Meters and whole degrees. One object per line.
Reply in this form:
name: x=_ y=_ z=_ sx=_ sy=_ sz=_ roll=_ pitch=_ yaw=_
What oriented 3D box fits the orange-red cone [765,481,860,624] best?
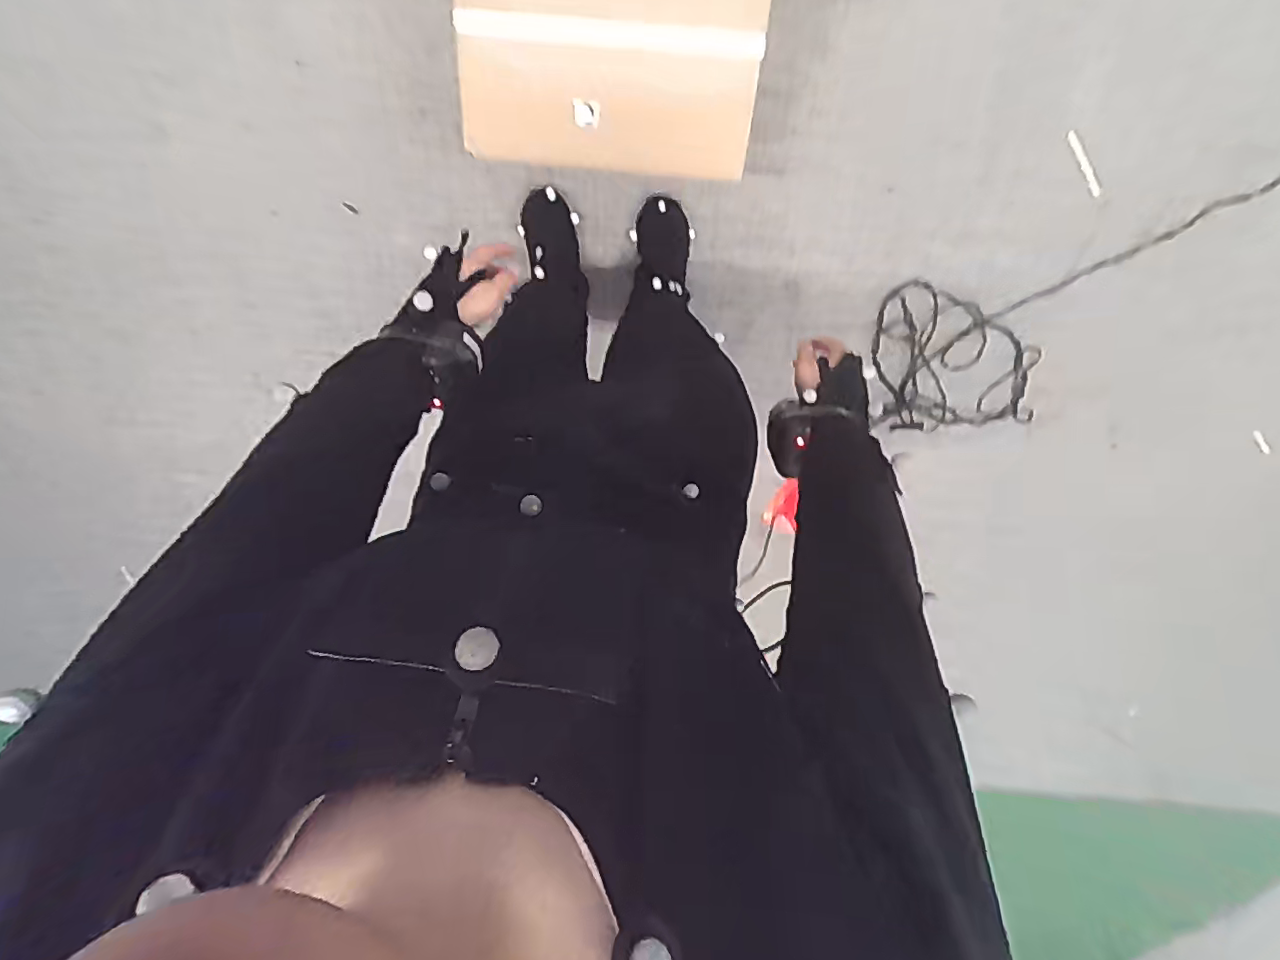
orange-red cone: x=0.450 y=0.197 z=1.299 sx=0.199 sy=0.360 sz=0.198 roll=21 pitch=123 yaw=-11
